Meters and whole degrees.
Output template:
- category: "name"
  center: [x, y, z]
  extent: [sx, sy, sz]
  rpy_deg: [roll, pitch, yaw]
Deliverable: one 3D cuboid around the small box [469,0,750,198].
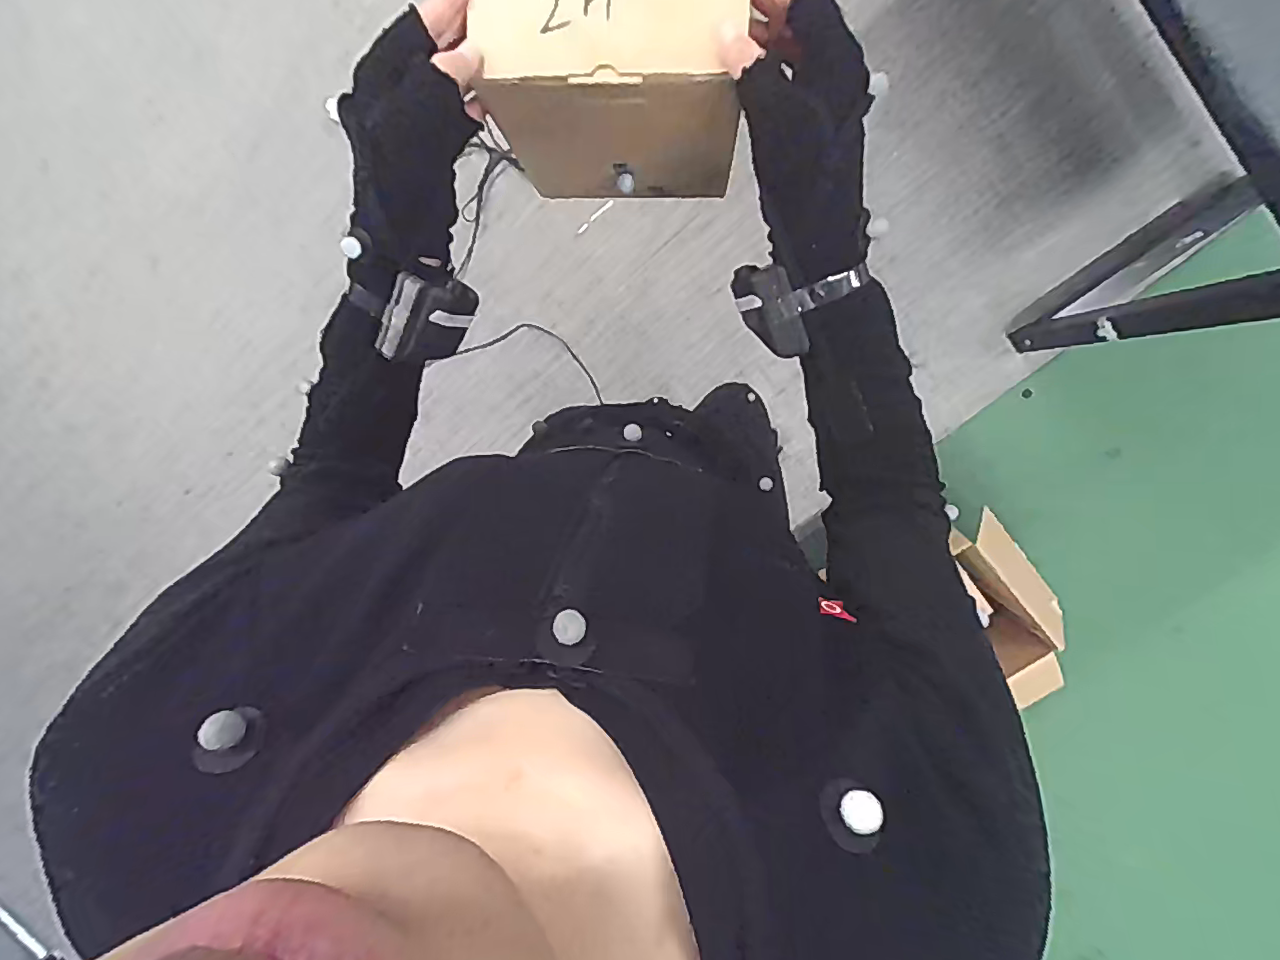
- category: "small box"
  center: [-0.012, -0.329, 0.388]
  extent: [0.168, 0.176, 0.179]
  rpy_deg: [2, 97, 5]
